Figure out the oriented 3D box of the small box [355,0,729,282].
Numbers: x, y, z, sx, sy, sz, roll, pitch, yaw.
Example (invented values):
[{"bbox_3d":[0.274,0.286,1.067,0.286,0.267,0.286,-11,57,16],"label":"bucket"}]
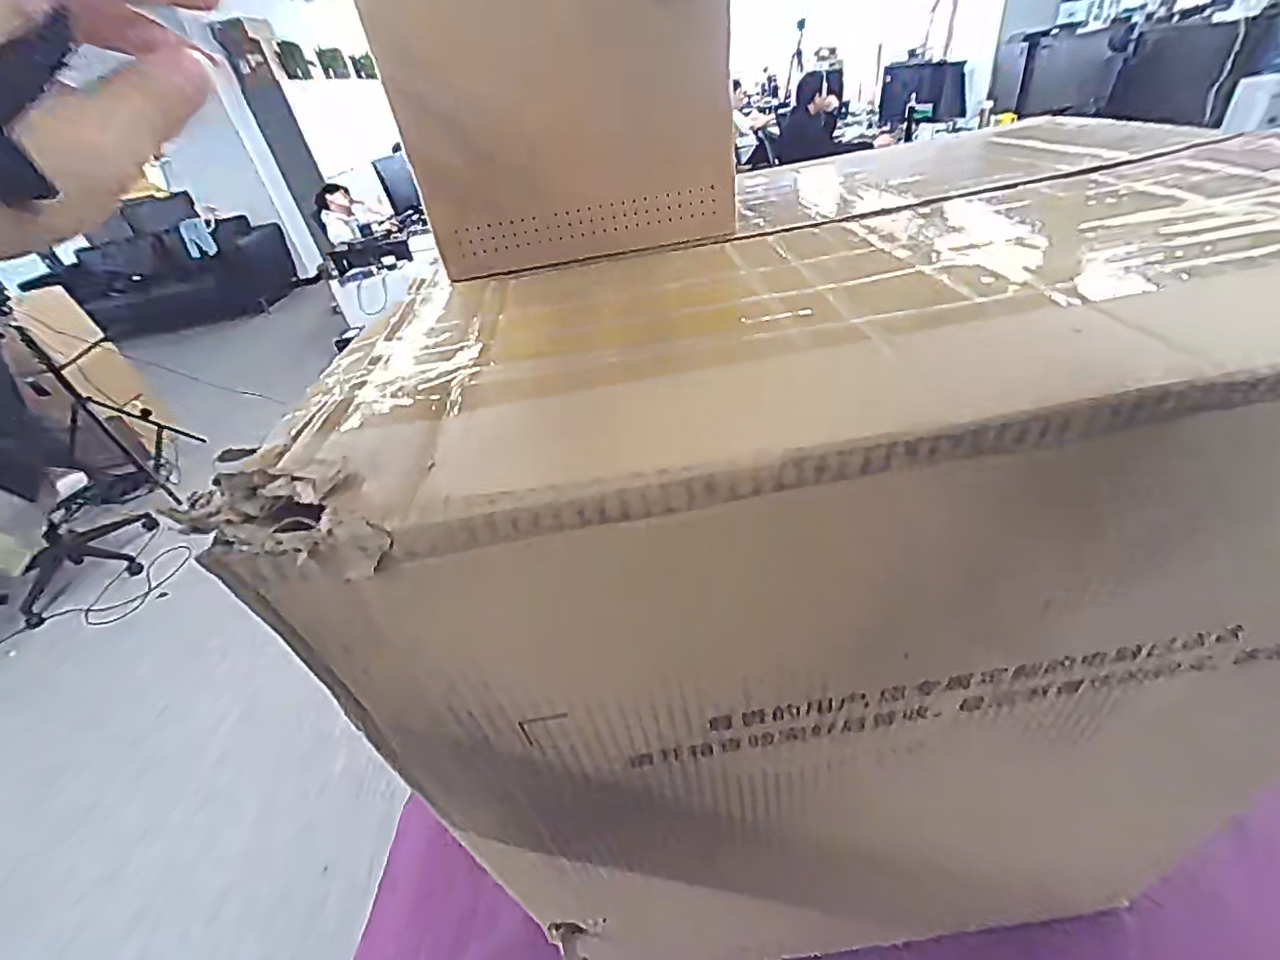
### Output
[{"bbox_3d":[-0.044,-0.239,0.333,0.179,0.176,0.168,-9,36,0],"label":"small box"}]
